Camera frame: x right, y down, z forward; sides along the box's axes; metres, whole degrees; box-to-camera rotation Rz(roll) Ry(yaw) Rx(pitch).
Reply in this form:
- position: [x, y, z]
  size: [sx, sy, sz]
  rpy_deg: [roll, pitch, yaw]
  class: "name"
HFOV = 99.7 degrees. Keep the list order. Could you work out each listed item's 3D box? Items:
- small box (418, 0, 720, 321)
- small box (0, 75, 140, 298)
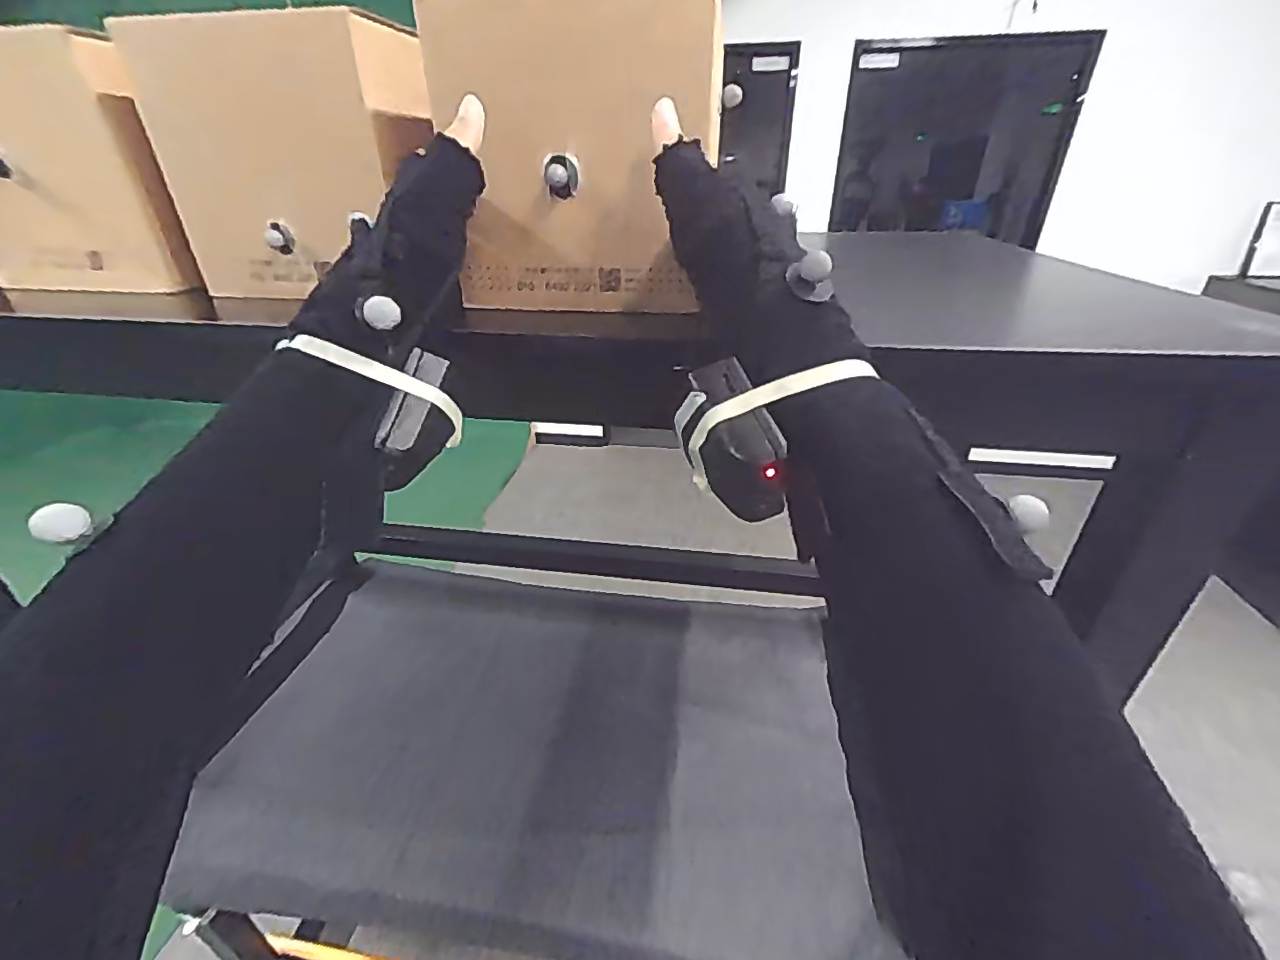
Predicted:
- position: [-0.030, -0.220, 0.397]
  size: [0.168, 0.176, 0.179]
  rpy_deg: [4, 30, 7]
  class: "small box"
- position: [-0.625, -0.270, 0.499]
  size: [0.168, 0.176, 0.179]
  rpy_deg: [3, 31, 7]
  class: "small box"
